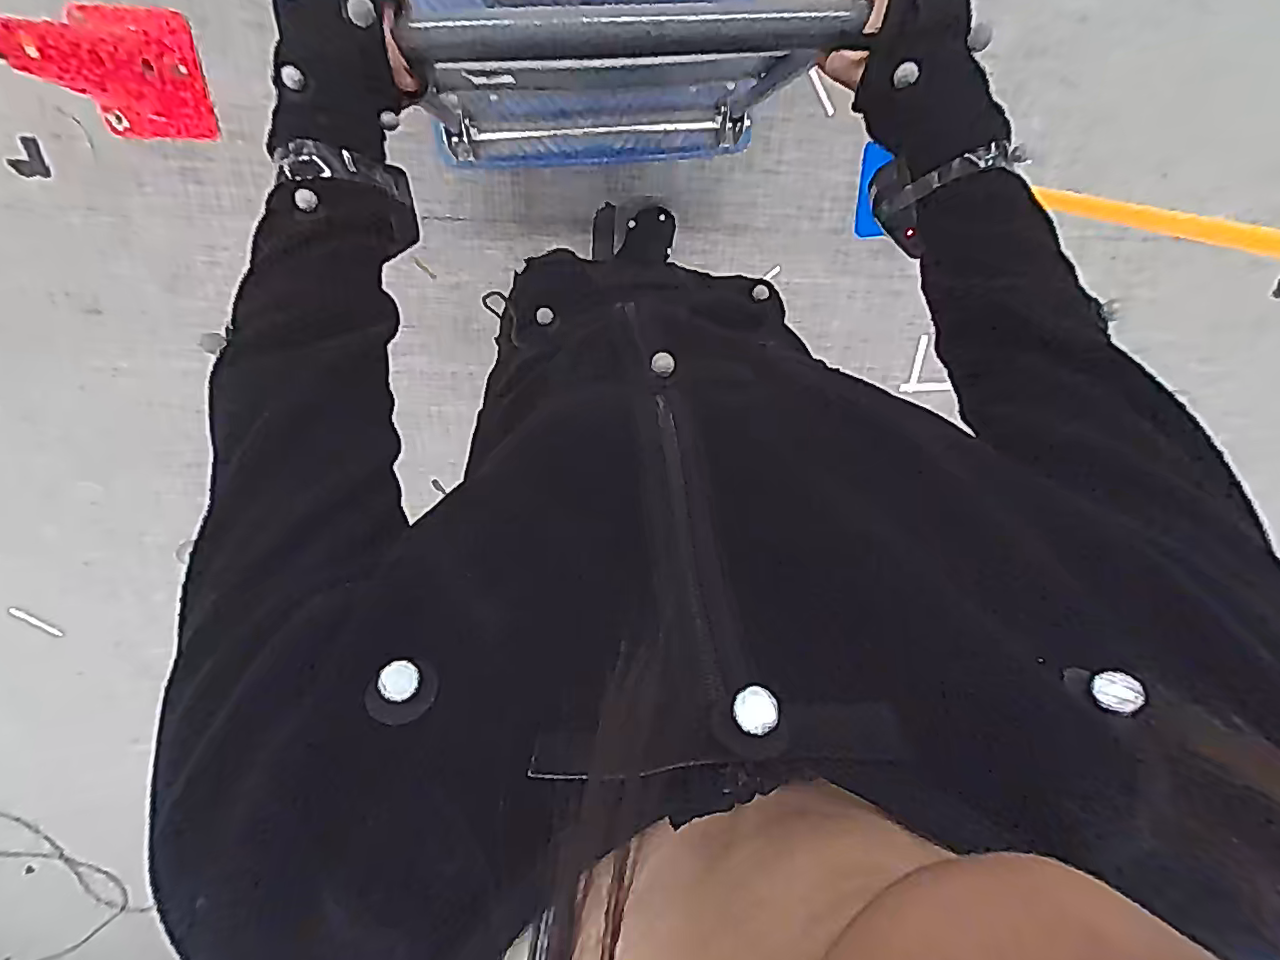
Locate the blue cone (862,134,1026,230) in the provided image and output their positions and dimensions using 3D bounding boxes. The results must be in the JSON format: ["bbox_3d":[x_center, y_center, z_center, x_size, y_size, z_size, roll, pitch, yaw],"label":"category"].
[{"bbox_3d":[0.624,-0.601,1.091,0.193,0.380,0.192,-4,118,-5],"label":"blue cone"}]
